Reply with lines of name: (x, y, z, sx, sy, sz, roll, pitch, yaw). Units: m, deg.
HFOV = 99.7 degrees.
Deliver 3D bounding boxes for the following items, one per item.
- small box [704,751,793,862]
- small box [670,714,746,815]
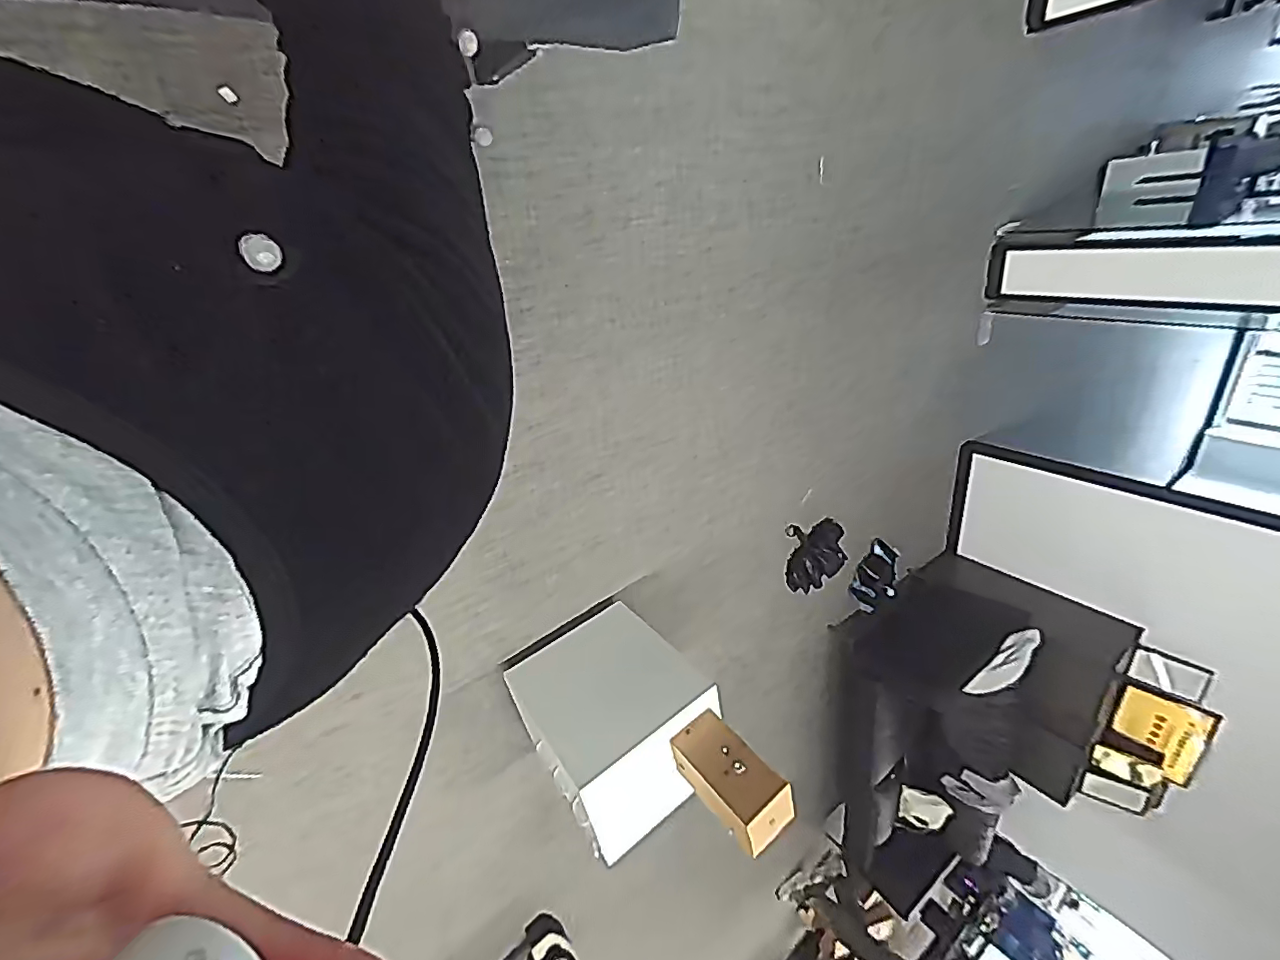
small box: (0.304, 0.906, 1.516, 0.168, 0.176, 0.179, -32, 124, -24)
small box: (0.211, 0.856, 1.641, 0.168, 0.176, 0.179, -29, 124, -24)
